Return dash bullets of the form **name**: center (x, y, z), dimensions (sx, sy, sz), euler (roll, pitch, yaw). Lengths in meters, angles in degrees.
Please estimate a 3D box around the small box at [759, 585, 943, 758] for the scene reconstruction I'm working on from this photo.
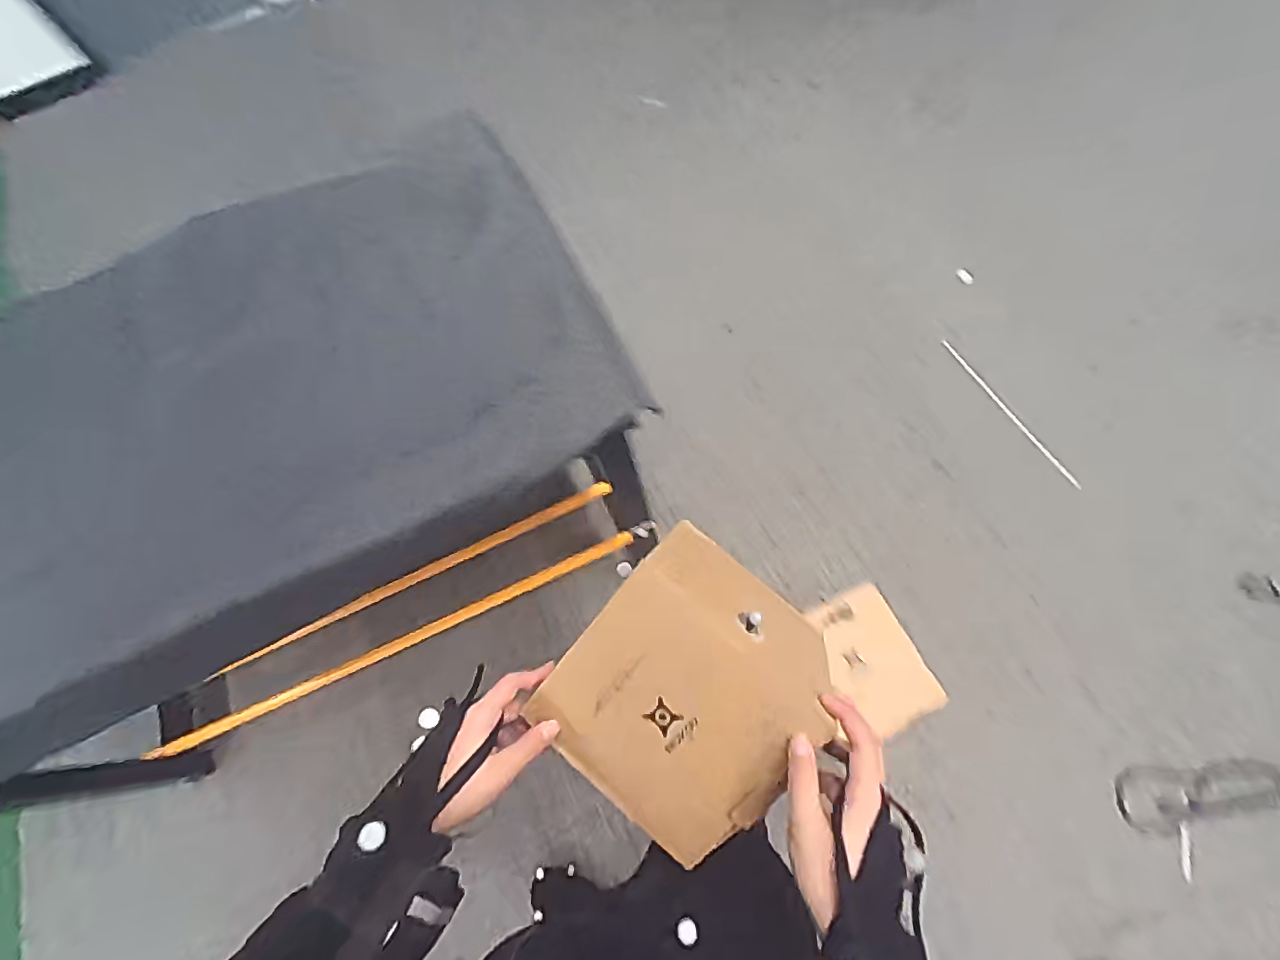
- **small box**: center (0.294, 0.279, 0.797), dimensions (0.168, 0.176, 0.179), euler (-24, 68, -5)

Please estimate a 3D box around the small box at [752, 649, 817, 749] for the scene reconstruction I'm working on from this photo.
- **small box**: center (0.310, 0.348, 0.946), dimensions (0.179, 0.176, 0.168), euler (-26, 67, -6)
